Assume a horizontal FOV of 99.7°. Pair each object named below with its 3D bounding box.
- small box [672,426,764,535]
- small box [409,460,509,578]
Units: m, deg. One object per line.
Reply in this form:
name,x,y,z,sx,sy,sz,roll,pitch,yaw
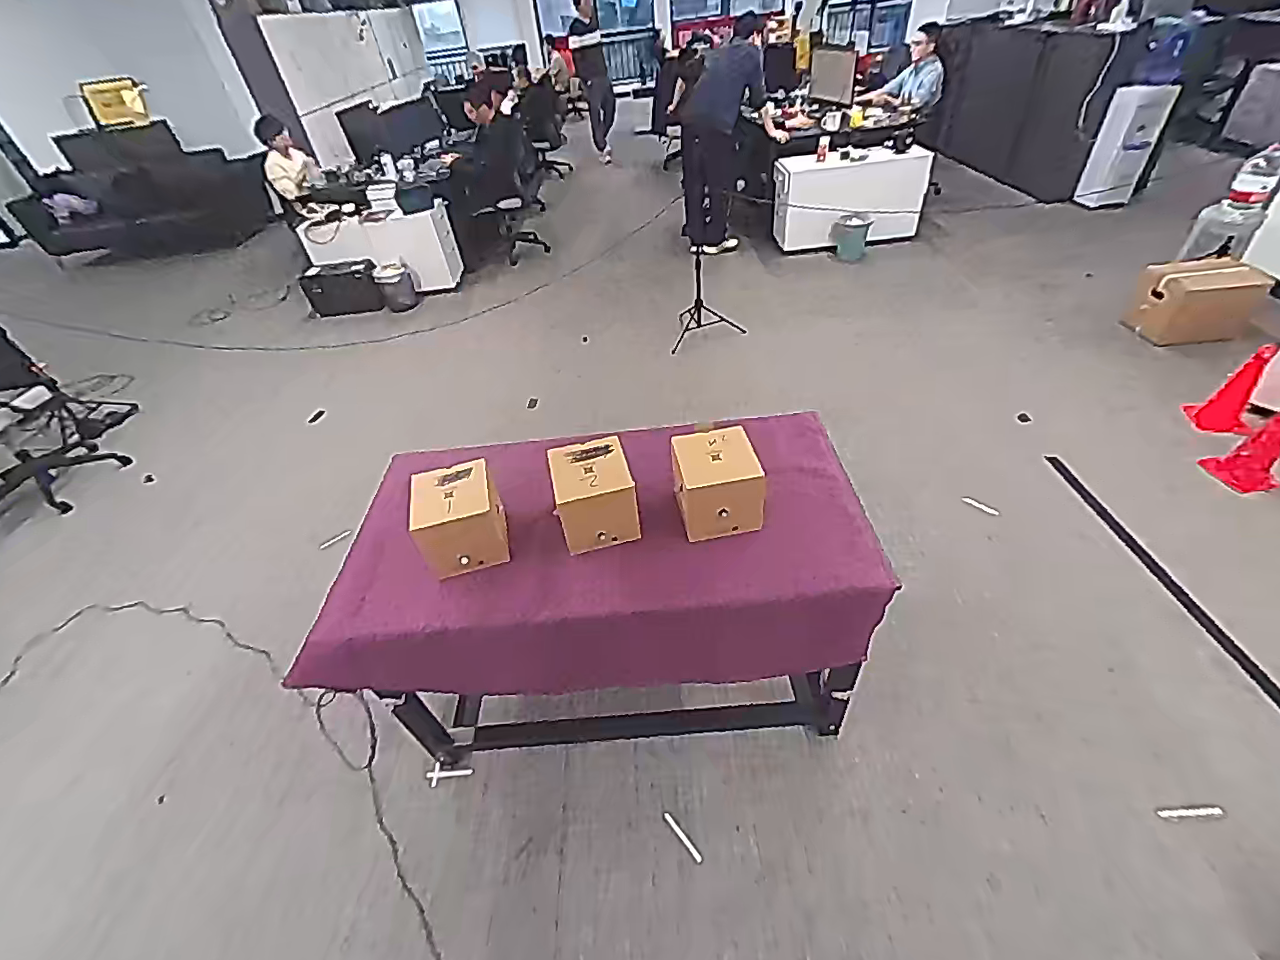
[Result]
small box,0.170,0.007,1.206,0.168,0.176,0.179,-9,42,-2
small box,-0.398,0.086,1.204,0.168,0.176,0.179,-15,43,-7
